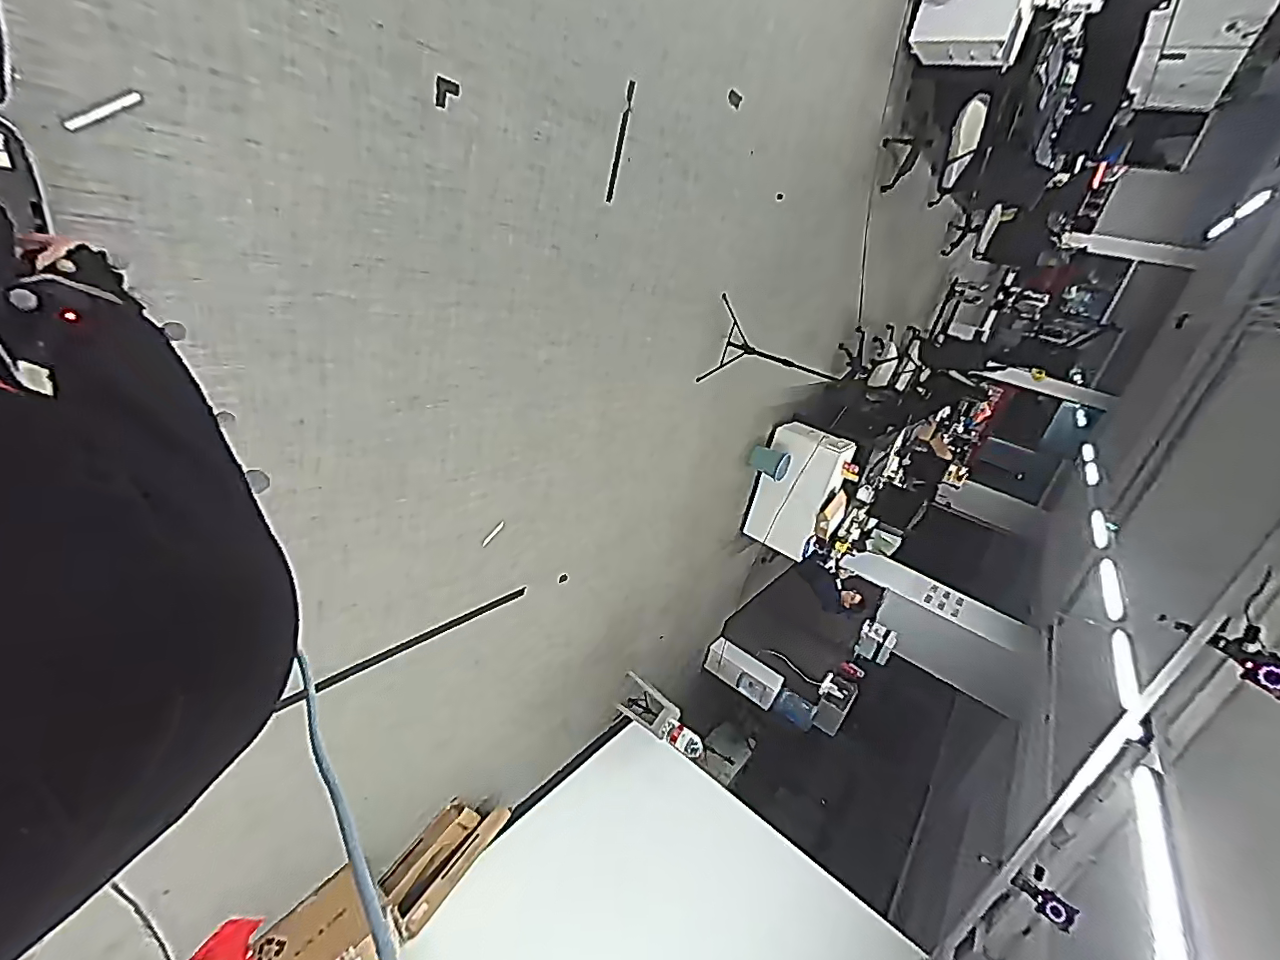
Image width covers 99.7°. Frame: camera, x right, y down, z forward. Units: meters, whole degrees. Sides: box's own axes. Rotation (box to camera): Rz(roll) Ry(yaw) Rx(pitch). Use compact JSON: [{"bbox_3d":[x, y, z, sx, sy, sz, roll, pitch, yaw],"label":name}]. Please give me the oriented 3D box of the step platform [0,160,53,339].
[{"bbox_3d":[-1.266,-0.364,0.704,0.684,0.204,0.286,-10,121,-52],"label":"step platform"}]
